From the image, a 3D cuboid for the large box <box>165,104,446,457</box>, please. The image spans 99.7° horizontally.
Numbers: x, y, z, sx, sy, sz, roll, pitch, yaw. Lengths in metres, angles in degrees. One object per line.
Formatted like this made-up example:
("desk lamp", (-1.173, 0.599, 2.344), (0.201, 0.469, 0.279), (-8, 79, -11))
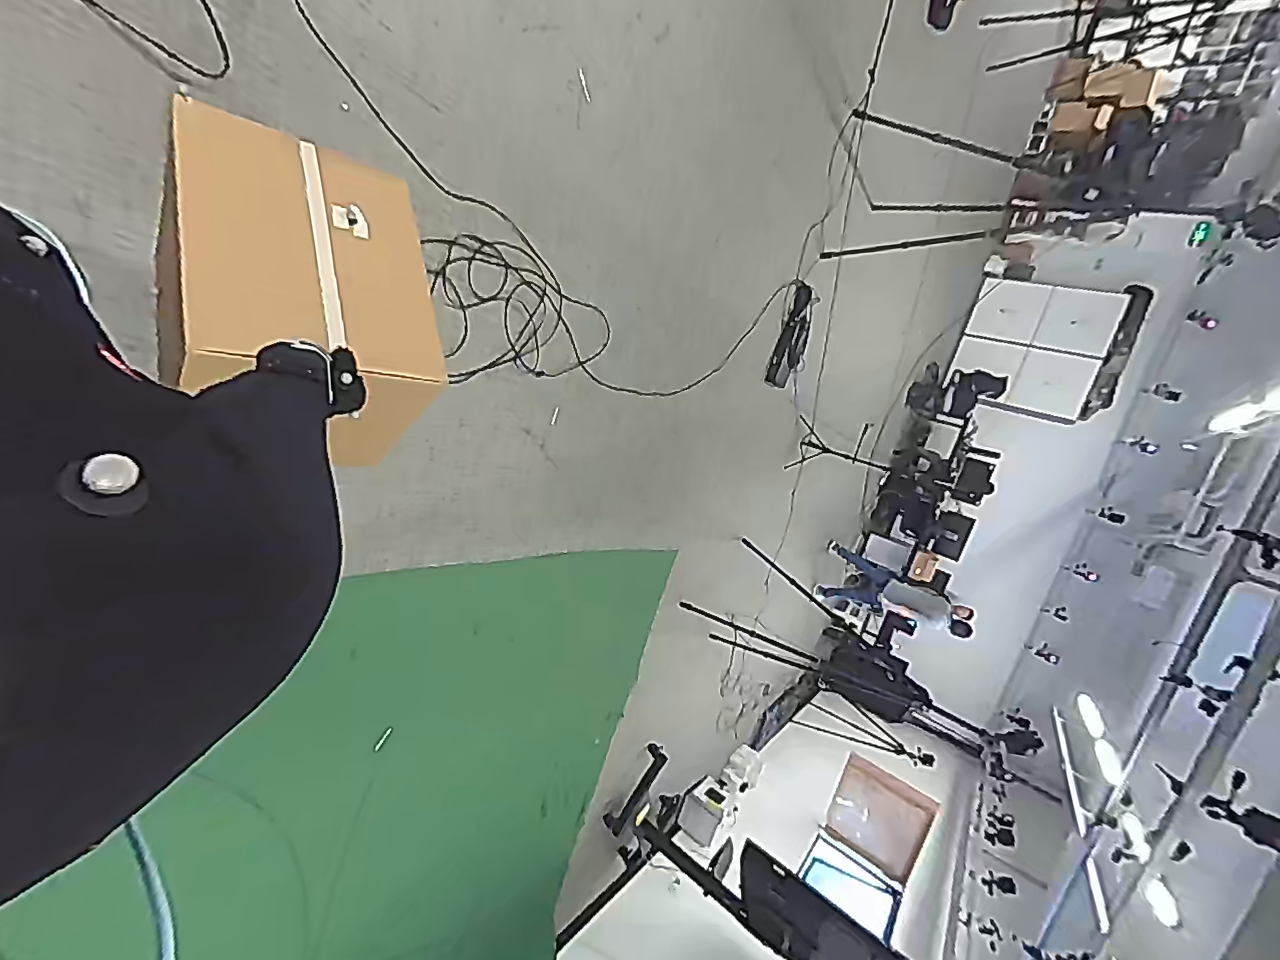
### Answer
("large box", (-0.562, -0.278, 0.889), (0.320, 0.320, 0.408), (0, 67, -45))
